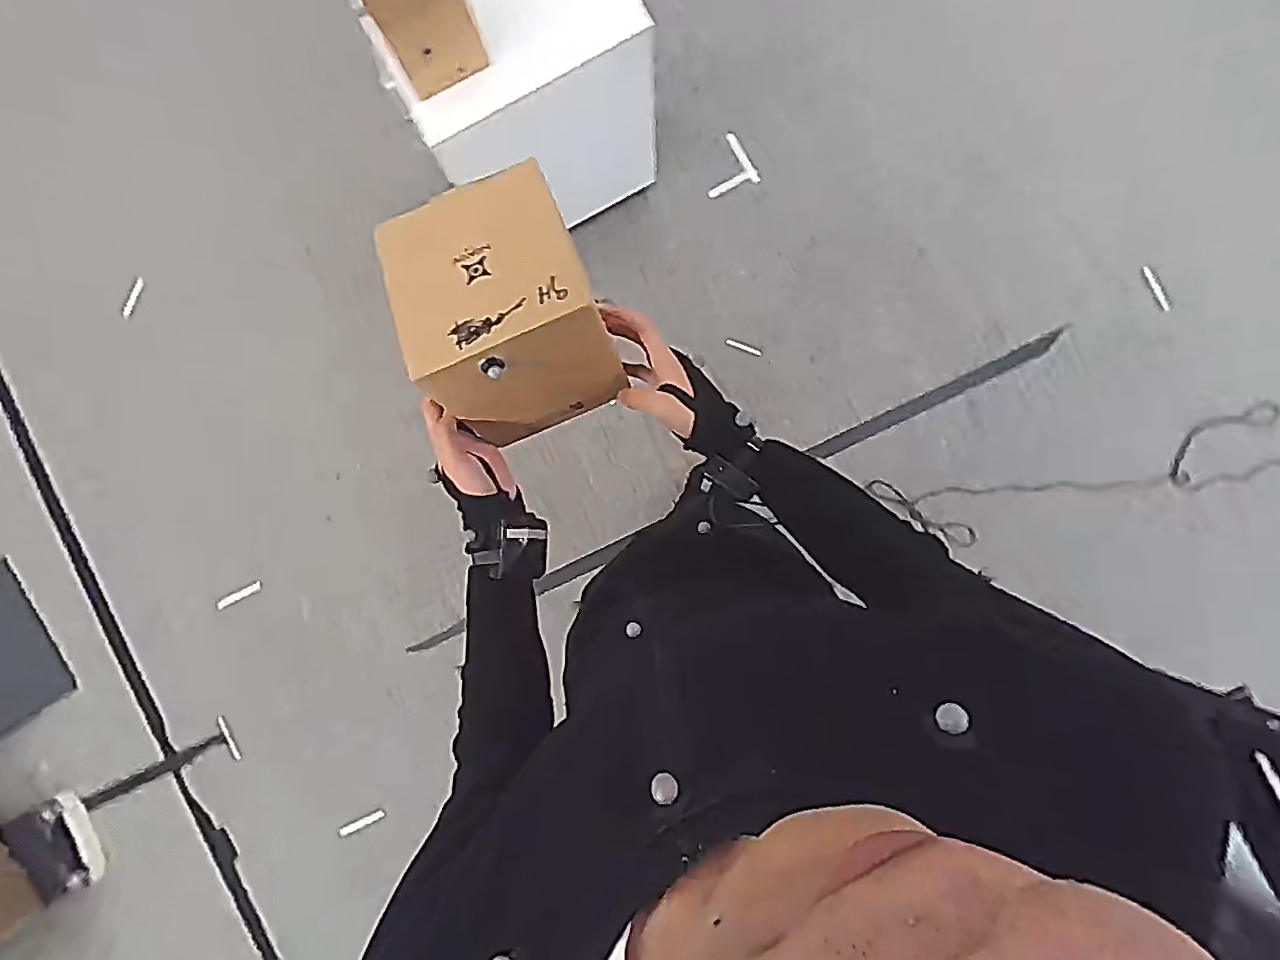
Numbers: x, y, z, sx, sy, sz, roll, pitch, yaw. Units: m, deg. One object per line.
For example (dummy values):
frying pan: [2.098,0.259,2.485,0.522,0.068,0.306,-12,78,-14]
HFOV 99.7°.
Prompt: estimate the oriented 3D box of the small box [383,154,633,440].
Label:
small box: [-0.120,-0.167,0.539,0.168,0.176,0.179,-22,71,4]

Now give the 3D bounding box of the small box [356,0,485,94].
small box: [-0.416,-0.869,1.007,0.168,0.176,0.179,-27,88,1]
